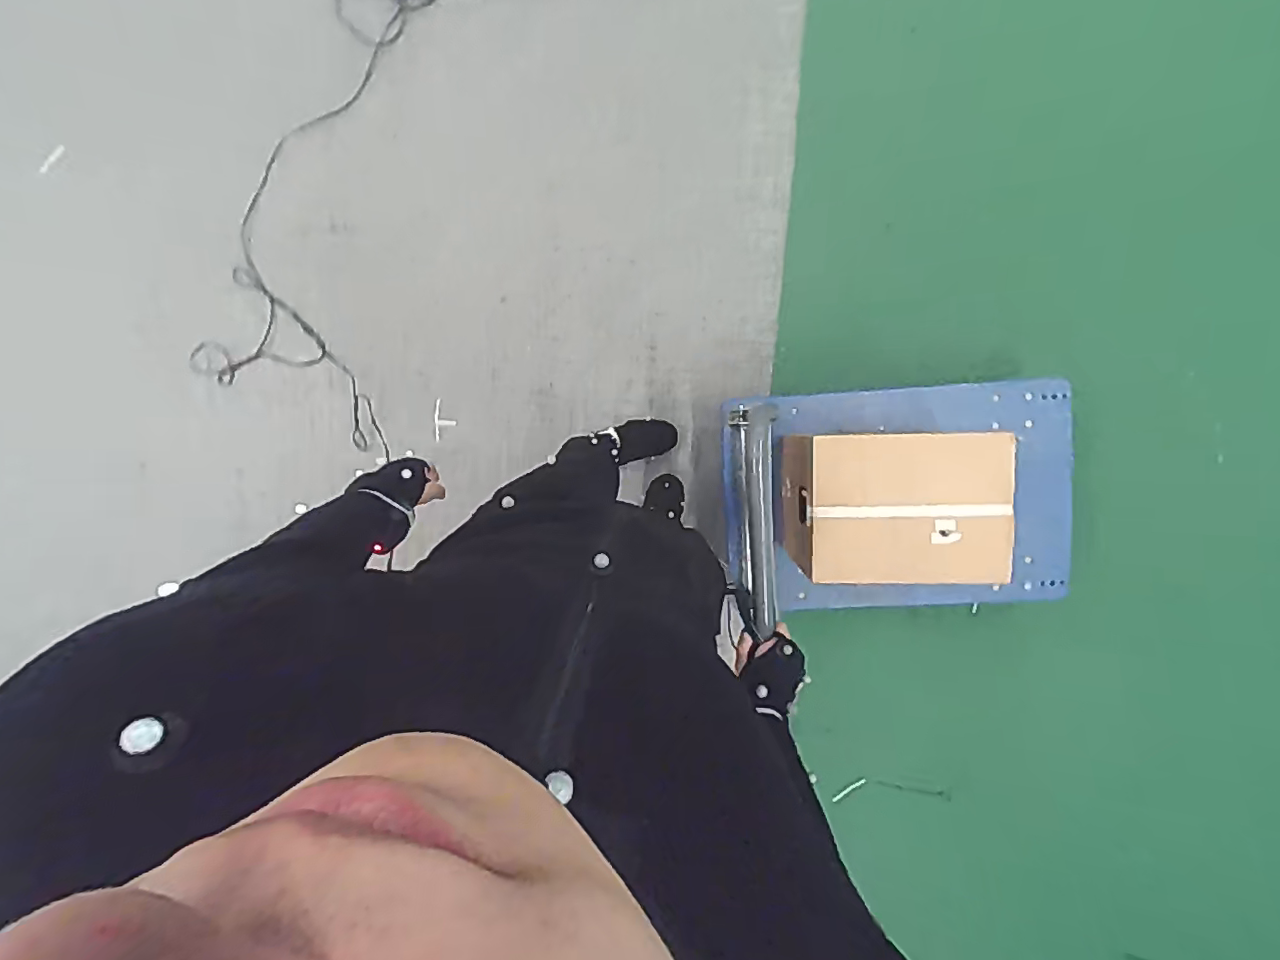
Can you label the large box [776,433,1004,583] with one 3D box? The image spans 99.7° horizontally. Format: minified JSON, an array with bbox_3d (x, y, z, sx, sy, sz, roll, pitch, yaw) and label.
[{"bbox_3d":[0.550,0.049,1.267,0.408,0.320,0.320,0,96,2],"label":"large box"}]
